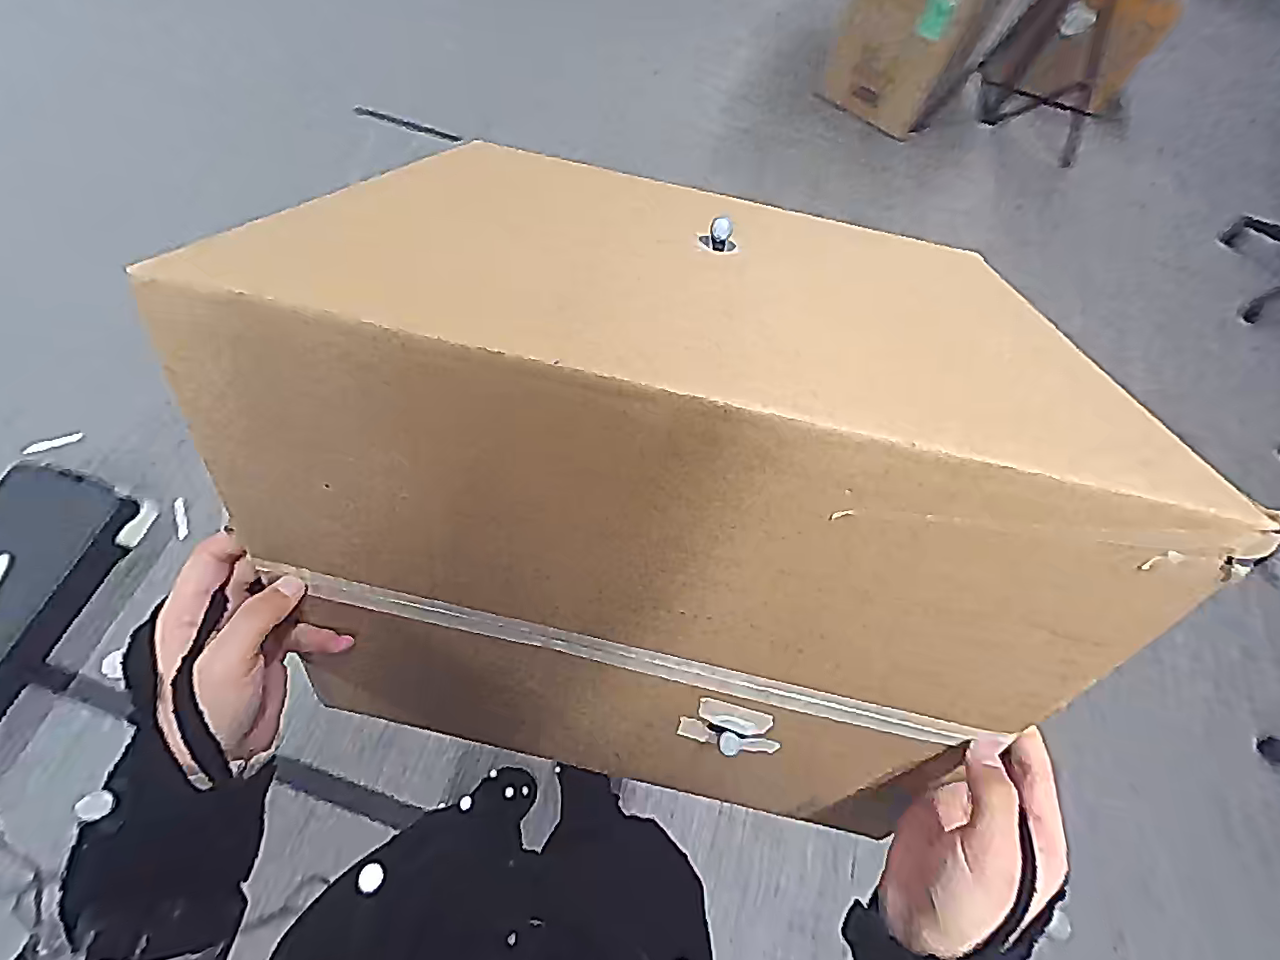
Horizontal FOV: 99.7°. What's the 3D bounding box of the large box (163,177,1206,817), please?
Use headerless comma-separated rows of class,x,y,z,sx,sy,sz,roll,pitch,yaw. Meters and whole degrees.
large box,0.010,-0.004,0.408,0.408,0.320,0.320,11,41,1
